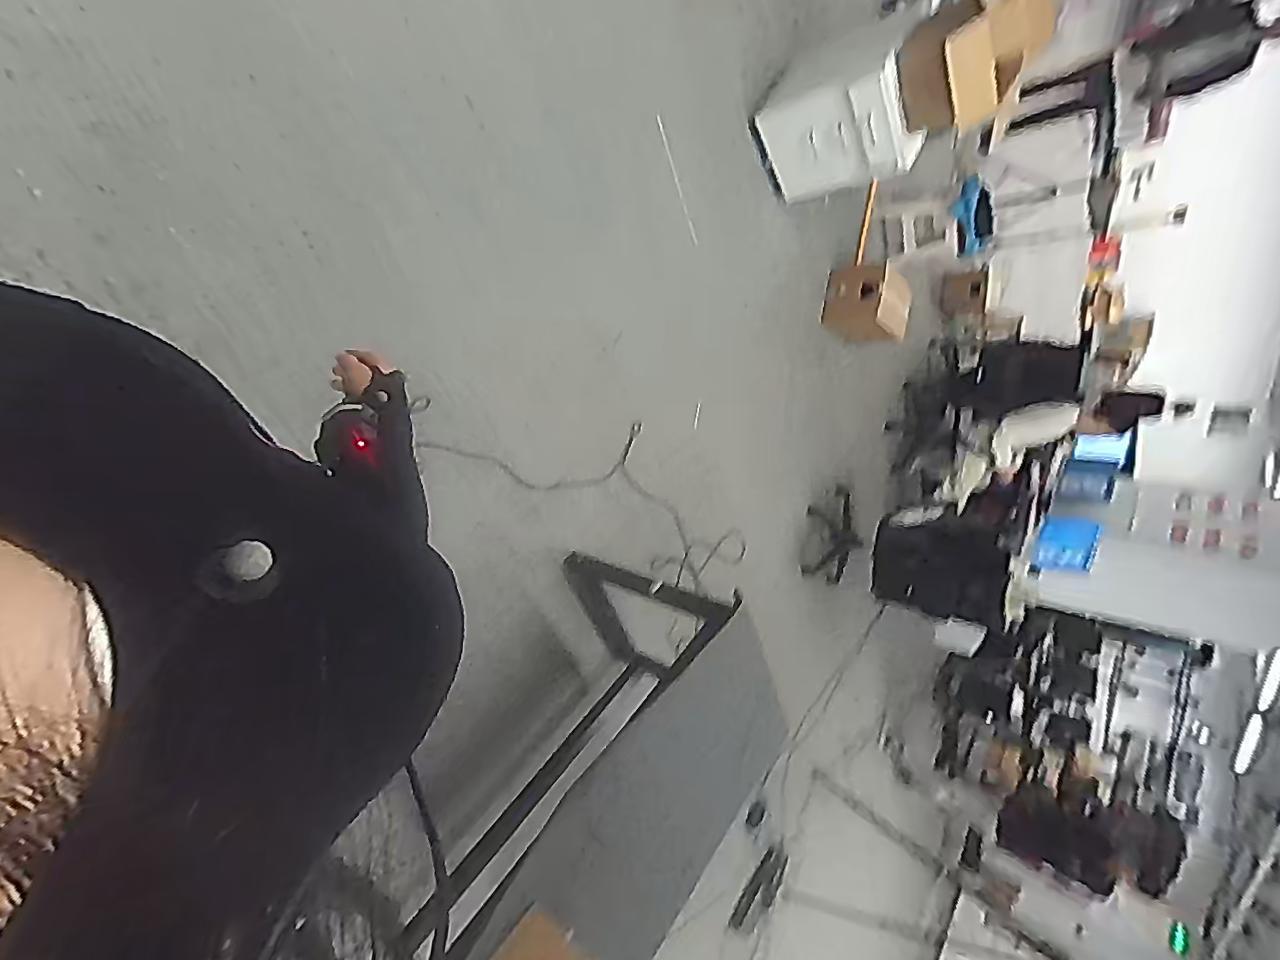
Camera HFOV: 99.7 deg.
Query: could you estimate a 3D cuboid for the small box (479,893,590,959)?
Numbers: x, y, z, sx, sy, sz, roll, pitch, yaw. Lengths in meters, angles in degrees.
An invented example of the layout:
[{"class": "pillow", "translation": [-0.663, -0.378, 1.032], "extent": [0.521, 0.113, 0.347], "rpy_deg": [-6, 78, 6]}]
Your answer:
[{"class": "small box", "translation": [-0.188, 0.937, 1.005], "extent": [0.179, 0.176, 0.168], "rpy_deg": [-39, 126, -36]}]
